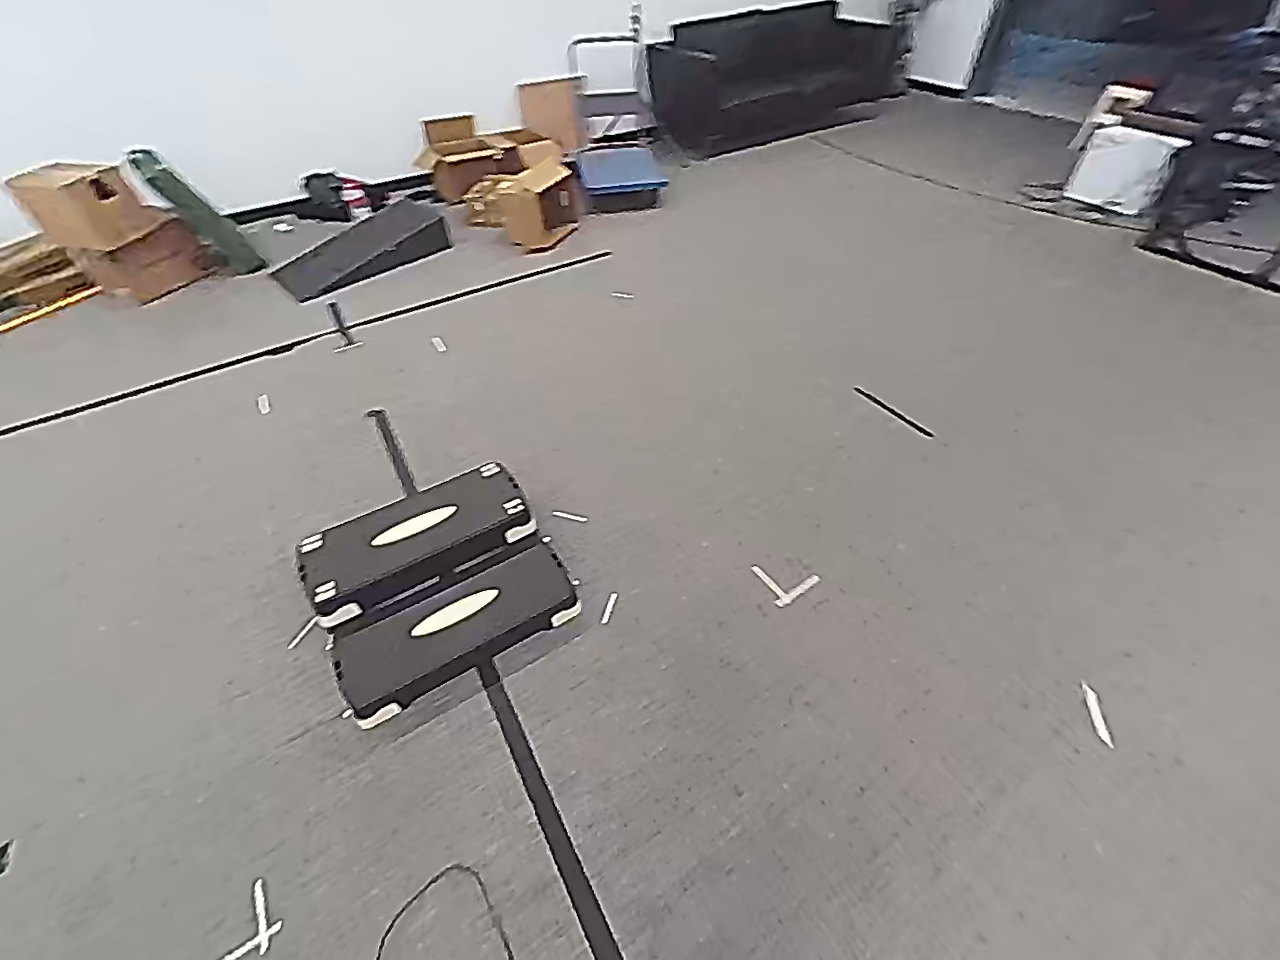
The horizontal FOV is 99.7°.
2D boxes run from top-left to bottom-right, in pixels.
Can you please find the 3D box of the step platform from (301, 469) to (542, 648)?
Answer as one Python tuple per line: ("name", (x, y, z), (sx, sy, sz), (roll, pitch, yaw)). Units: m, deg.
("step platform", (-0.665, 0.224, 1.692), (0.684, 0.204, 0.286), (-25, 51, -22))
